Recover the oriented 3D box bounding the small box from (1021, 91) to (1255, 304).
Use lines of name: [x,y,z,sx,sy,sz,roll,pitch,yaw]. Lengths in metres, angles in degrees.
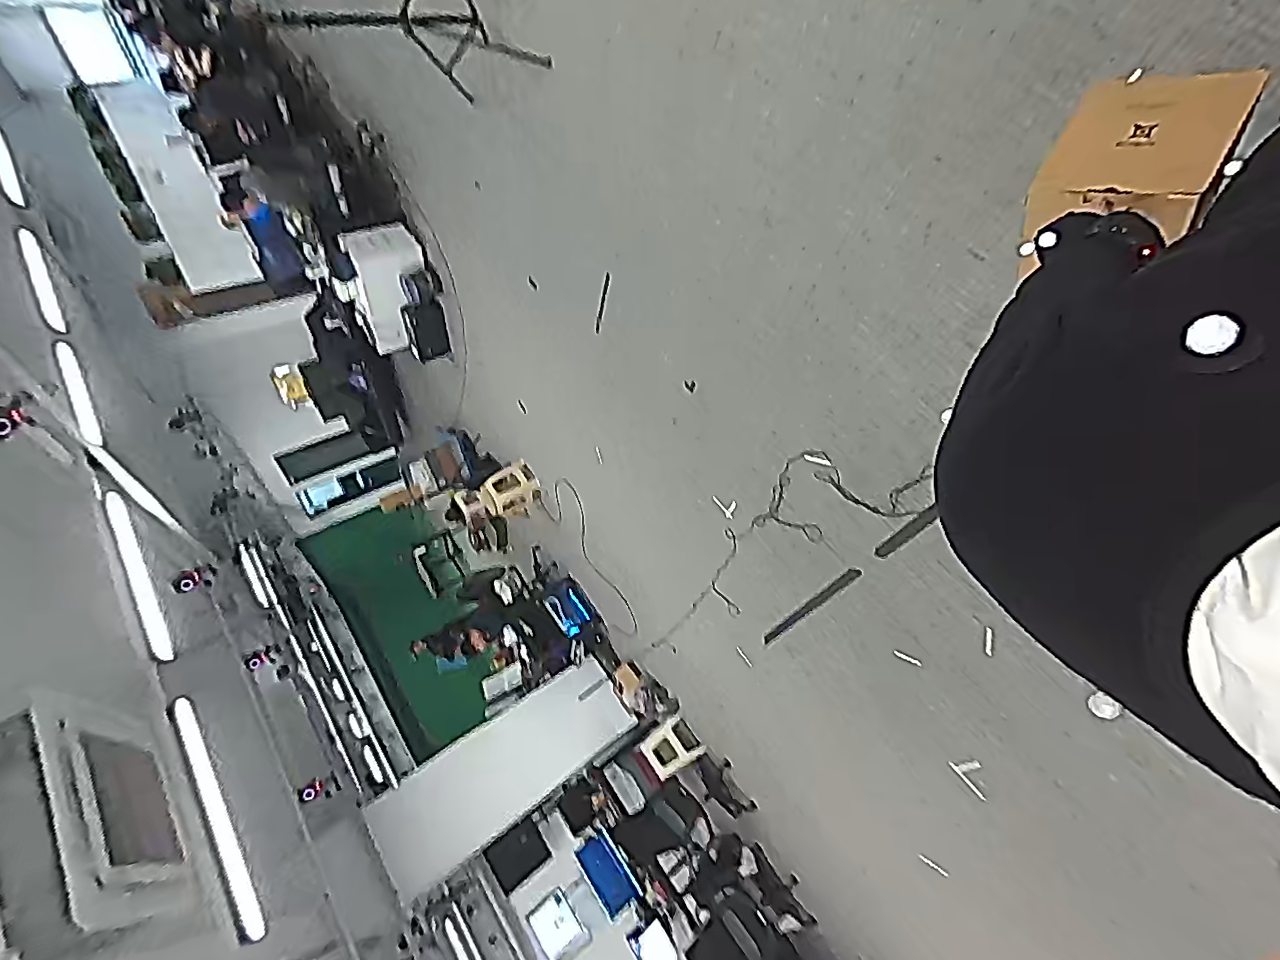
small box: [0.628,-0.359,0.708,0.168,0.179,0.176,28,171,38]
